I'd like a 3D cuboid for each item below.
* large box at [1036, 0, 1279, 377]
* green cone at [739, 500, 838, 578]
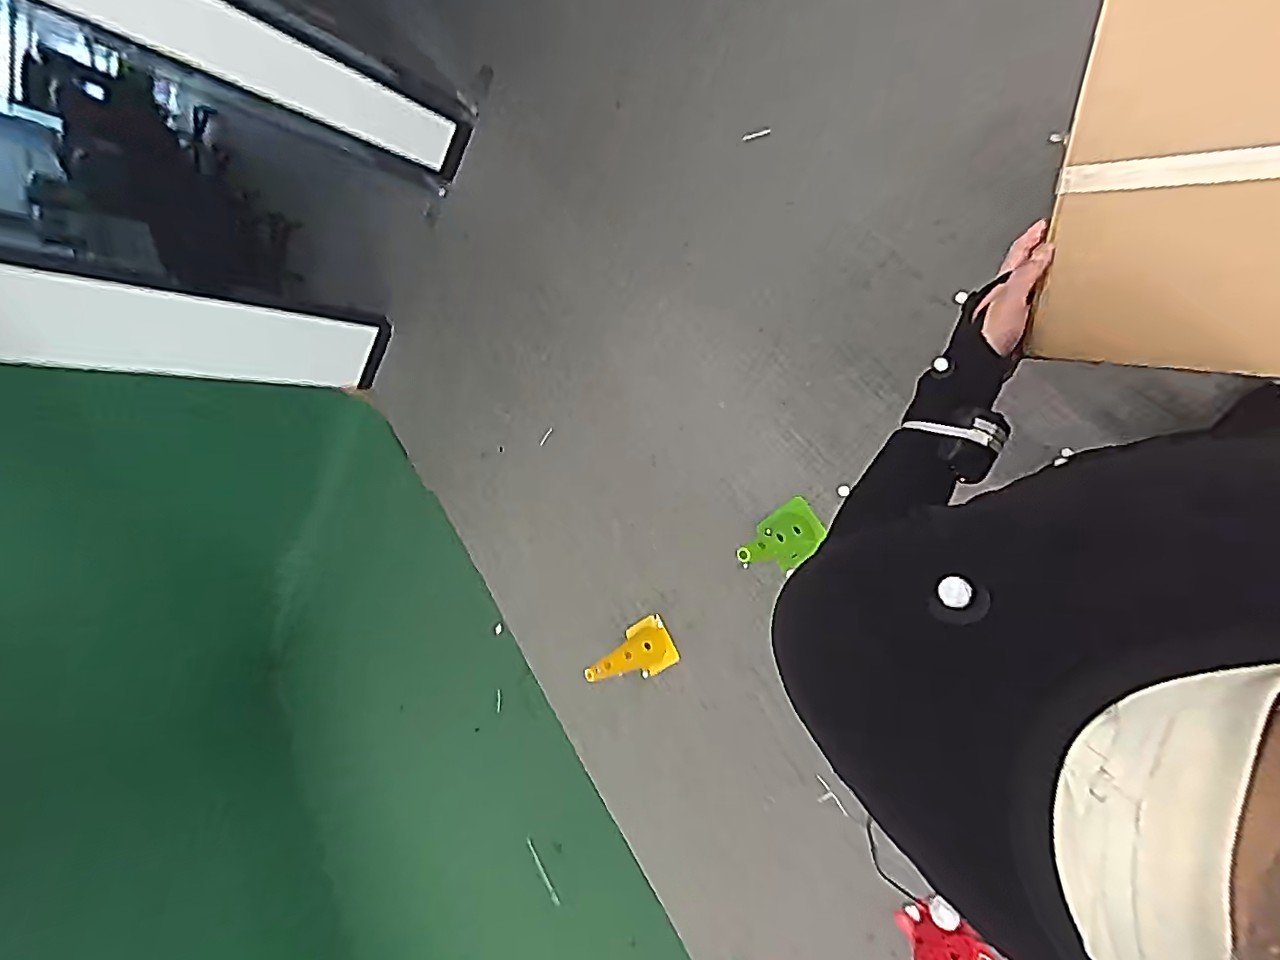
[{"bbox_3d":[0.632,-0.265,0.464,0.408,0.320,0.320,16,119,40],"label":"large box"},{"bbox_3d":[0.400,0.200,1.606,0.202,0.368,0.200,-46,65,32],"label":"green cone"}]
